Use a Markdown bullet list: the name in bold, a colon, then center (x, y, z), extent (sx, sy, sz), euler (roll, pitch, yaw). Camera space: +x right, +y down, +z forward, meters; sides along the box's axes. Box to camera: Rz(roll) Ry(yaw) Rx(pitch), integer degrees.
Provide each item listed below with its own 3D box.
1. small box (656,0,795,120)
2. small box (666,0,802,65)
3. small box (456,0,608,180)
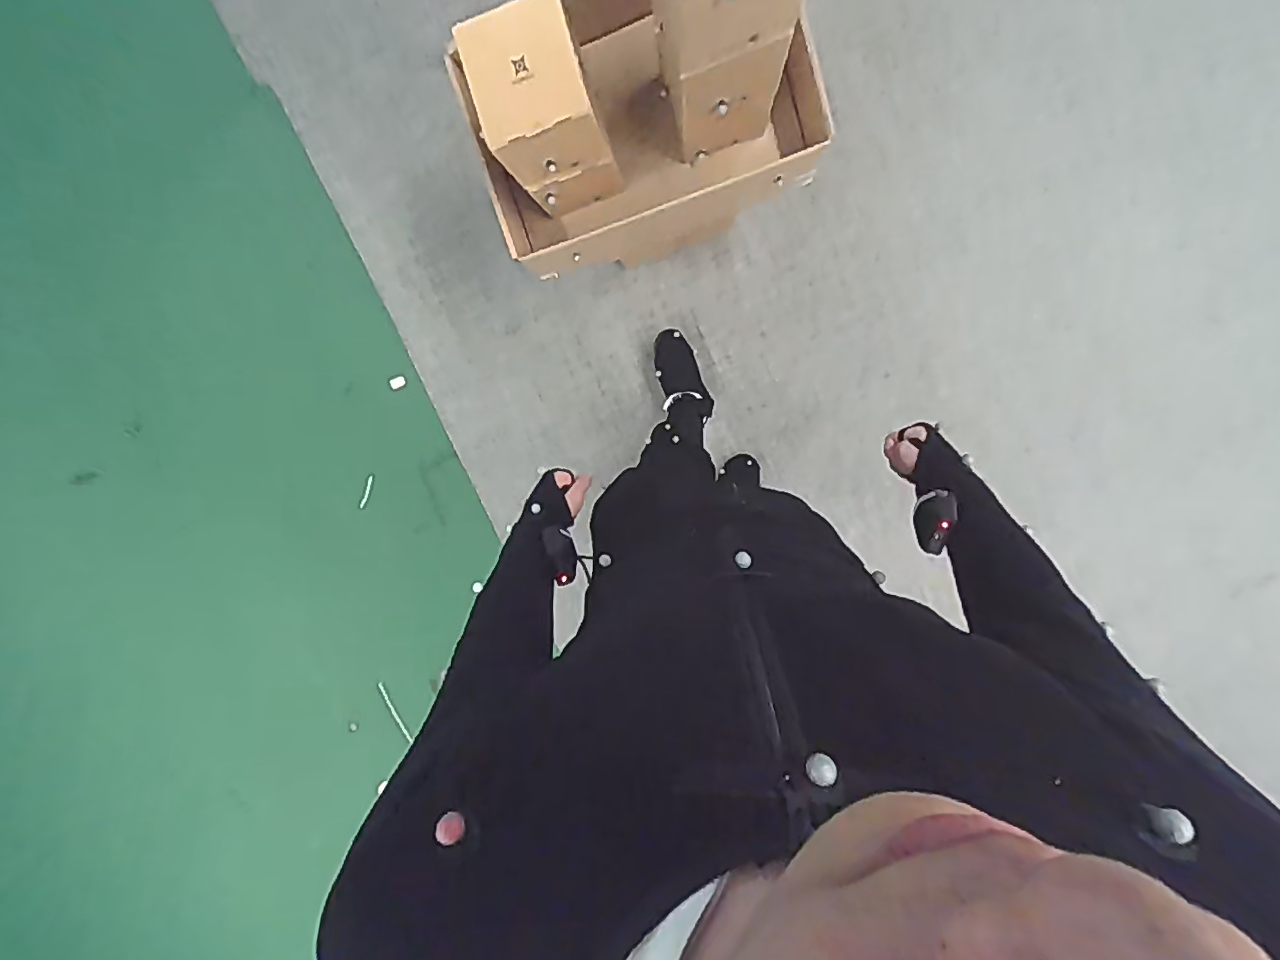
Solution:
- **small box**: center (0.121, -0.694, 0.815), extent (0.168, 0.176, 0.179), euler (-15, 99, 10)
- **small box**: center (0.103, -0.664, 0.654), extent (0.168, 0.176, 0.179), euler (-15, 98, 10)
- **small box**: center (-0.160, -0.619, 0.862), extent (0.168, 0.176, 0.179), euler (-15, 99, 9)
